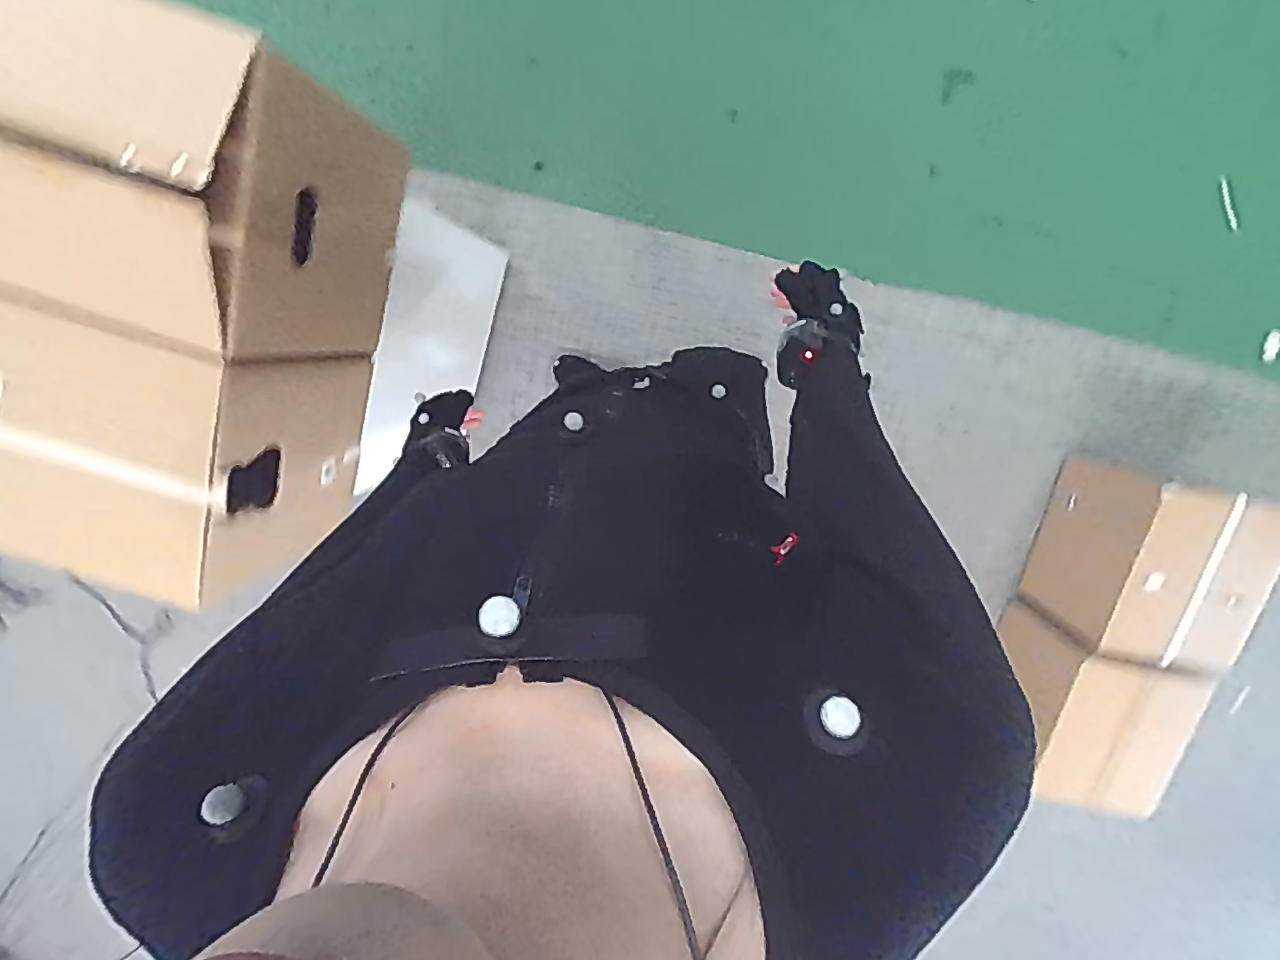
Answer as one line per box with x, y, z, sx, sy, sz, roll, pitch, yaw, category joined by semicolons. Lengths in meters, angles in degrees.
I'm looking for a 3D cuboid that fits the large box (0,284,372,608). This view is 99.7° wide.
-0.668;-0.070;0.773;0.408;0.320;0.320;17;104;1;large box
